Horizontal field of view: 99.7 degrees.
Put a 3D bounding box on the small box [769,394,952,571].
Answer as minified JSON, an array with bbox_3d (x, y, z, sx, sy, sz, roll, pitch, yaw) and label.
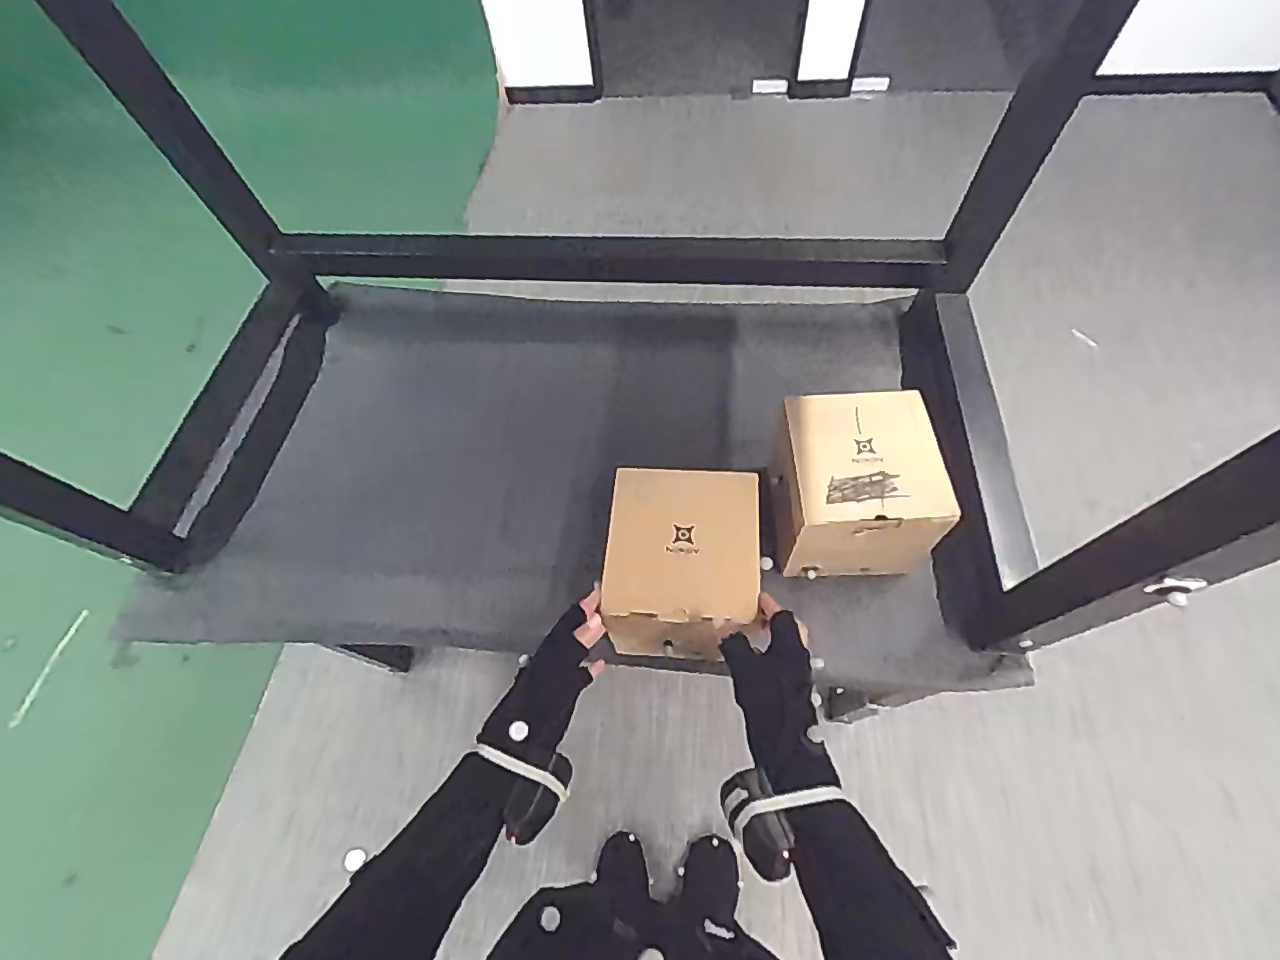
[{"bbox_3d":[0.266,0.012,0.699,0.168,0.176,0.179,-2,59,5],"label":"small box"}]

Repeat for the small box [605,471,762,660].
[{"bbox_3d":[0.057,0.108,0.667,0.168,0.176,0.179,2,59,7],"label":"small box"}]
